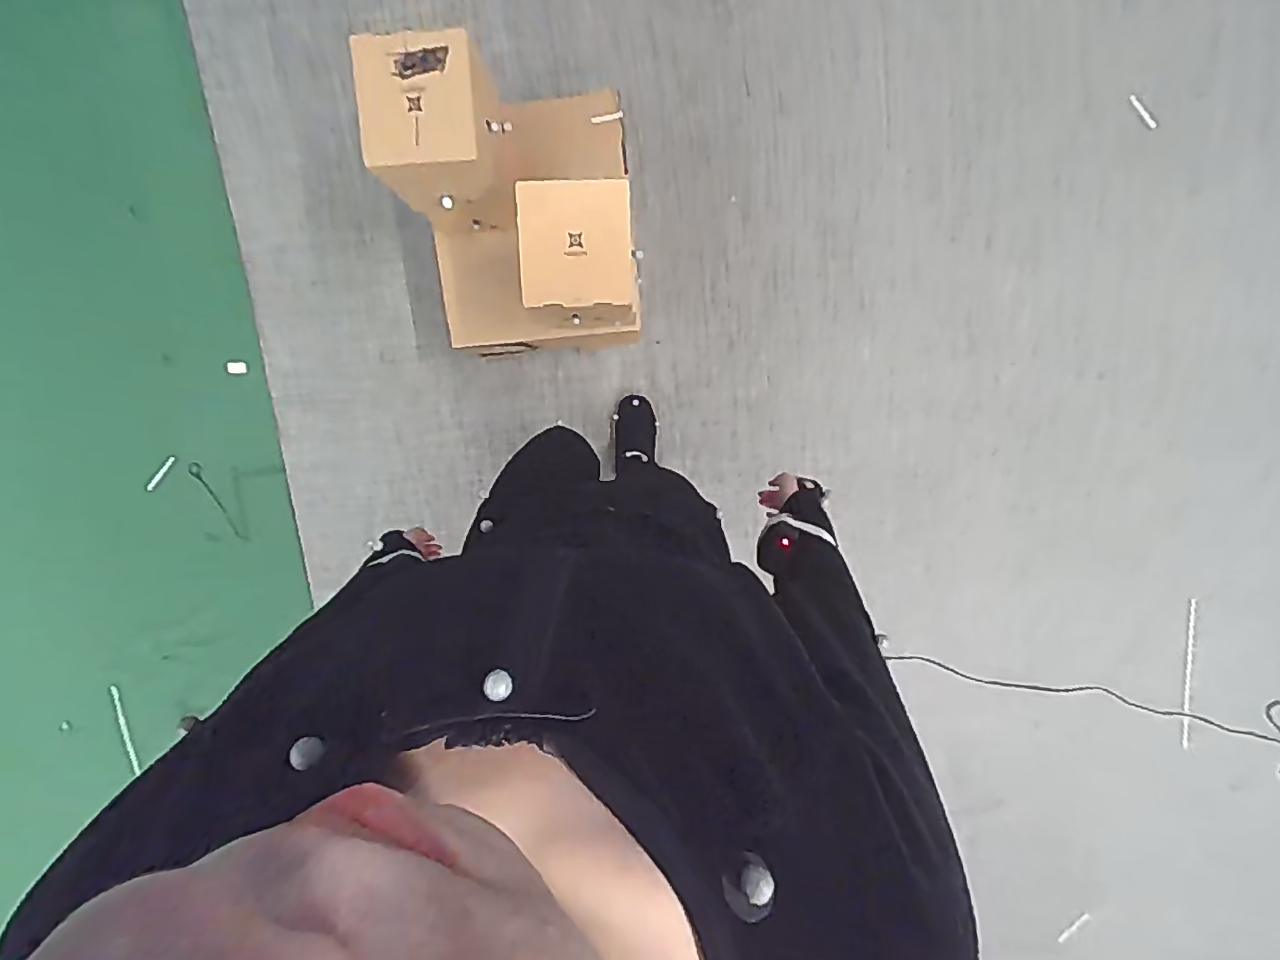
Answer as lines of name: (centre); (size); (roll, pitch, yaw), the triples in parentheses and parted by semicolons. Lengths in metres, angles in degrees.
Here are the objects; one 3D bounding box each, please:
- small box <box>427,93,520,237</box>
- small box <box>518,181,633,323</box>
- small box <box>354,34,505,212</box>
small box: (-0.323, -0.576, 1.004); (0.168, 0.176, 0.179); (-5, 96, 1)
small box: (-0.097, -0.355, 0.870); (0.168, 0.176, 0.179); (-2, 99, -1)
small box: (-0.315, -0.542, 0.842); (0.168, 0.176, 0.179); (-3, 97, 1)
